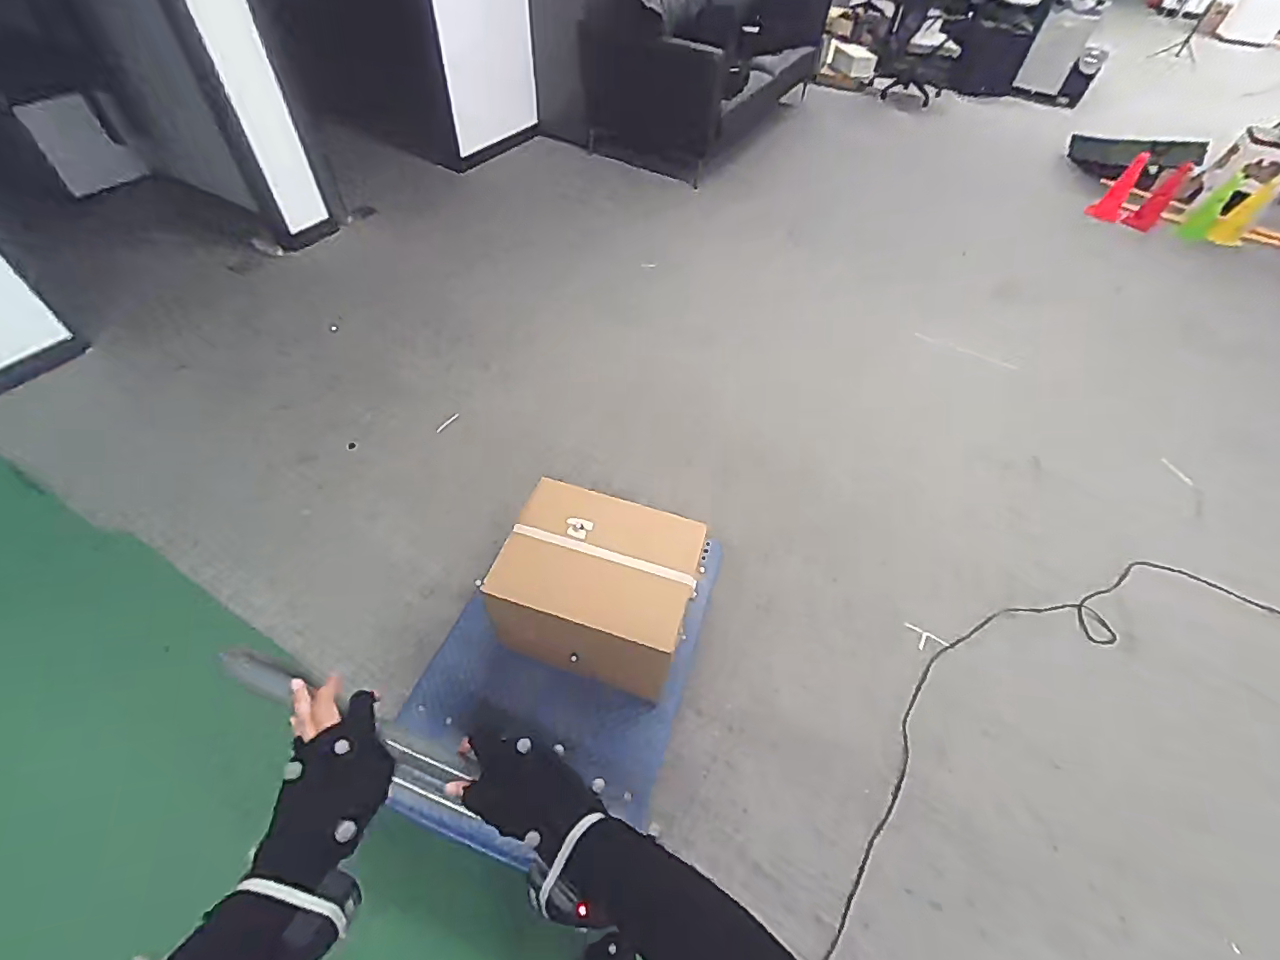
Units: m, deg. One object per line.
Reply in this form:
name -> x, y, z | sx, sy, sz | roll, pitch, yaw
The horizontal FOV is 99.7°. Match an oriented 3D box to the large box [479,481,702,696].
large box -> -0.095, 0.255, 1.258 | 0.408, 0.320, 0.320 | 15, 51, 10
